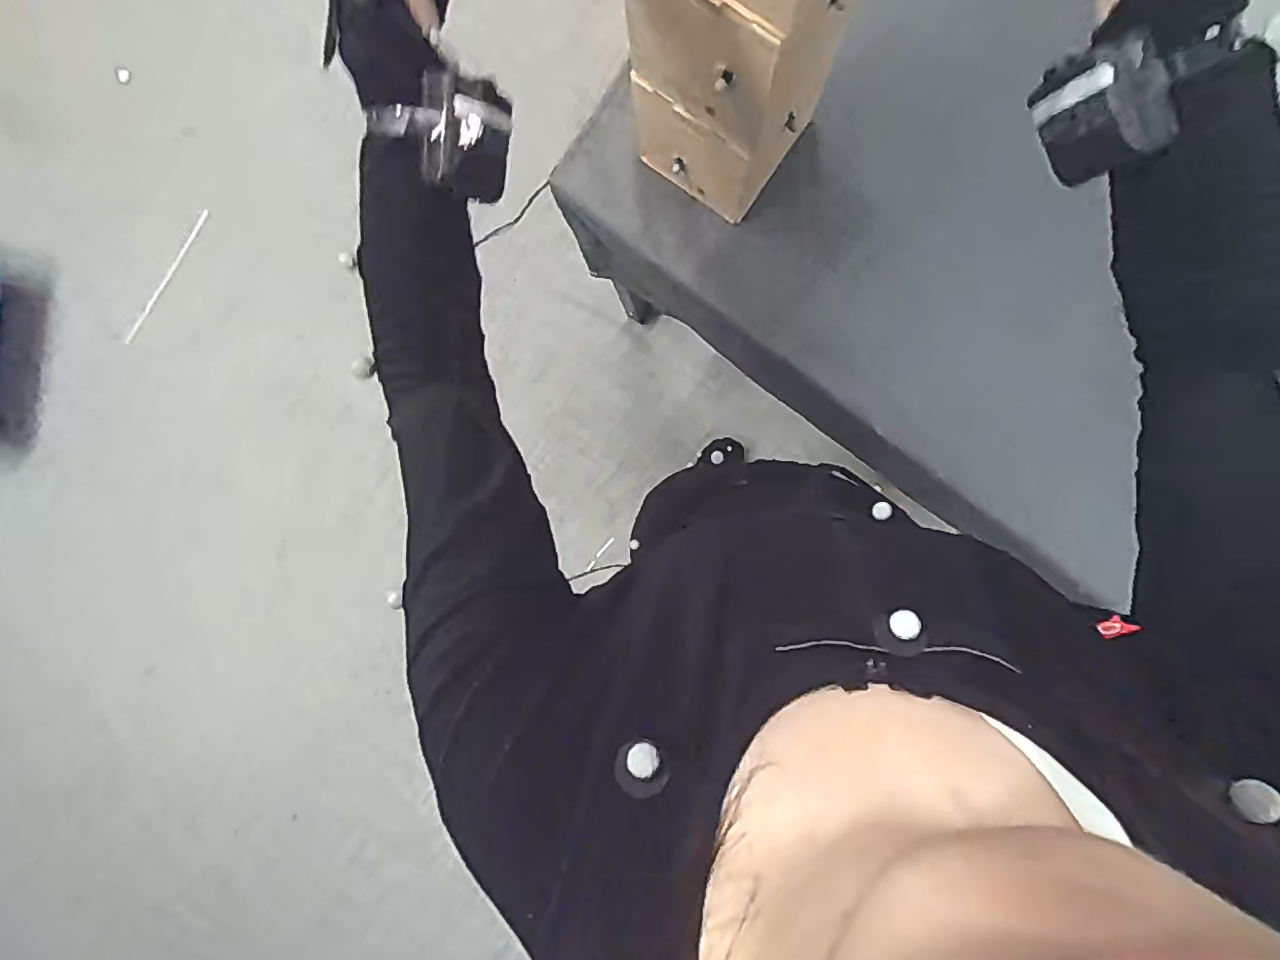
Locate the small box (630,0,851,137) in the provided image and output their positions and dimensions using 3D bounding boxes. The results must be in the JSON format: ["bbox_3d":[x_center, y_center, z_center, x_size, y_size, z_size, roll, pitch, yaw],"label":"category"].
[{"bbox_3d":[0.101,-0.466,0.491,0.168,0.176,0.179,37,95,1],"label":"small box"}]

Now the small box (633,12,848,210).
[{"bbox_3d":[0.109,-0.475,0.653,0.168,0.176,0.179,36,96,2],"label":"small box"}]
